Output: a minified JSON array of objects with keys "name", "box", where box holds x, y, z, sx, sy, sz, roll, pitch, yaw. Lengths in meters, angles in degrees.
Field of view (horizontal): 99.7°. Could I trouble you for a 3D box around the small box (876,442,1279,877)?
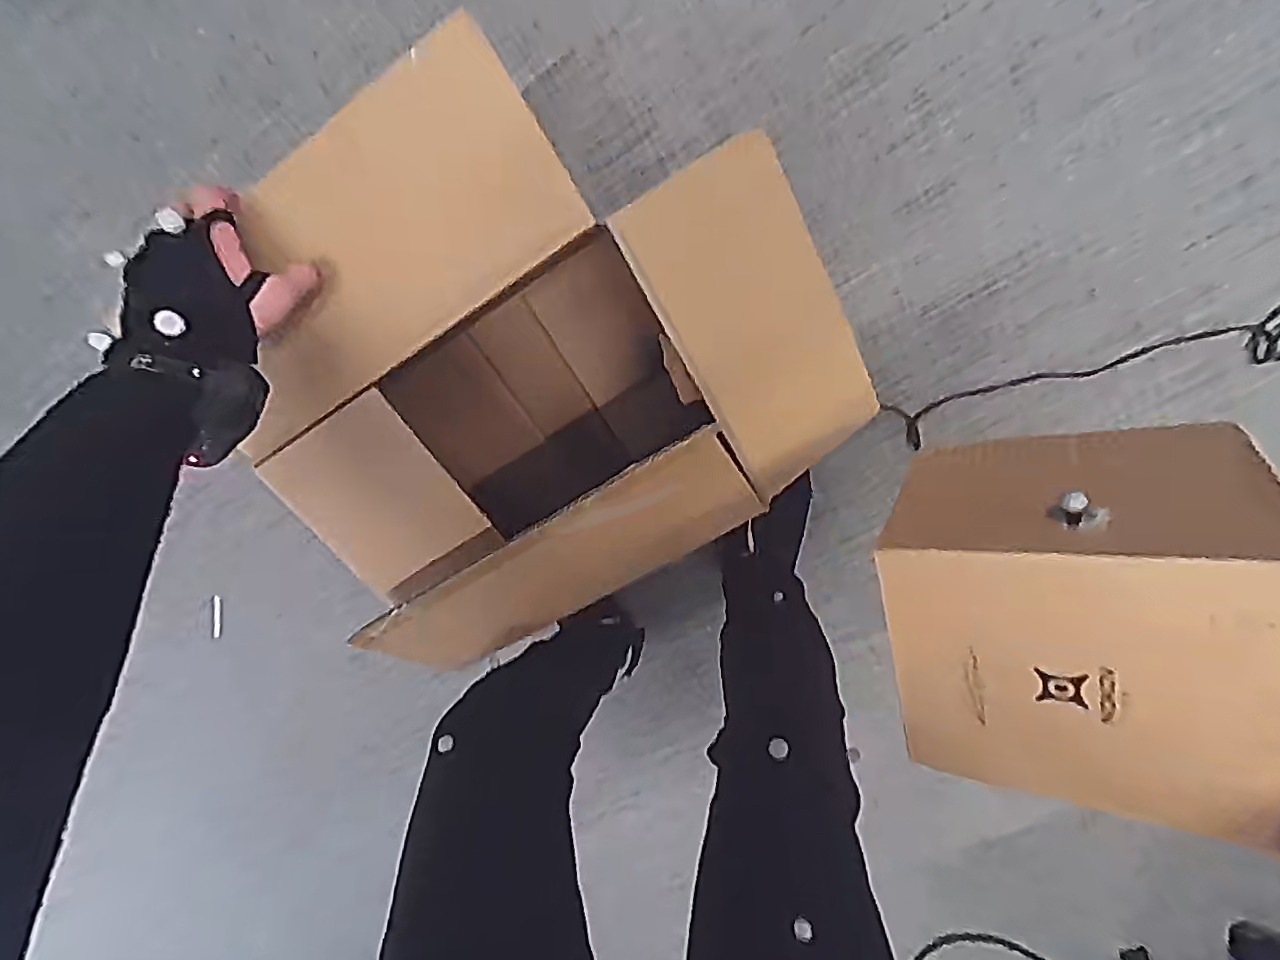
[{"name":"small box","box":[0.260,0.080,0.334,0.179,0.176,0.168,-1,112,36]}]
